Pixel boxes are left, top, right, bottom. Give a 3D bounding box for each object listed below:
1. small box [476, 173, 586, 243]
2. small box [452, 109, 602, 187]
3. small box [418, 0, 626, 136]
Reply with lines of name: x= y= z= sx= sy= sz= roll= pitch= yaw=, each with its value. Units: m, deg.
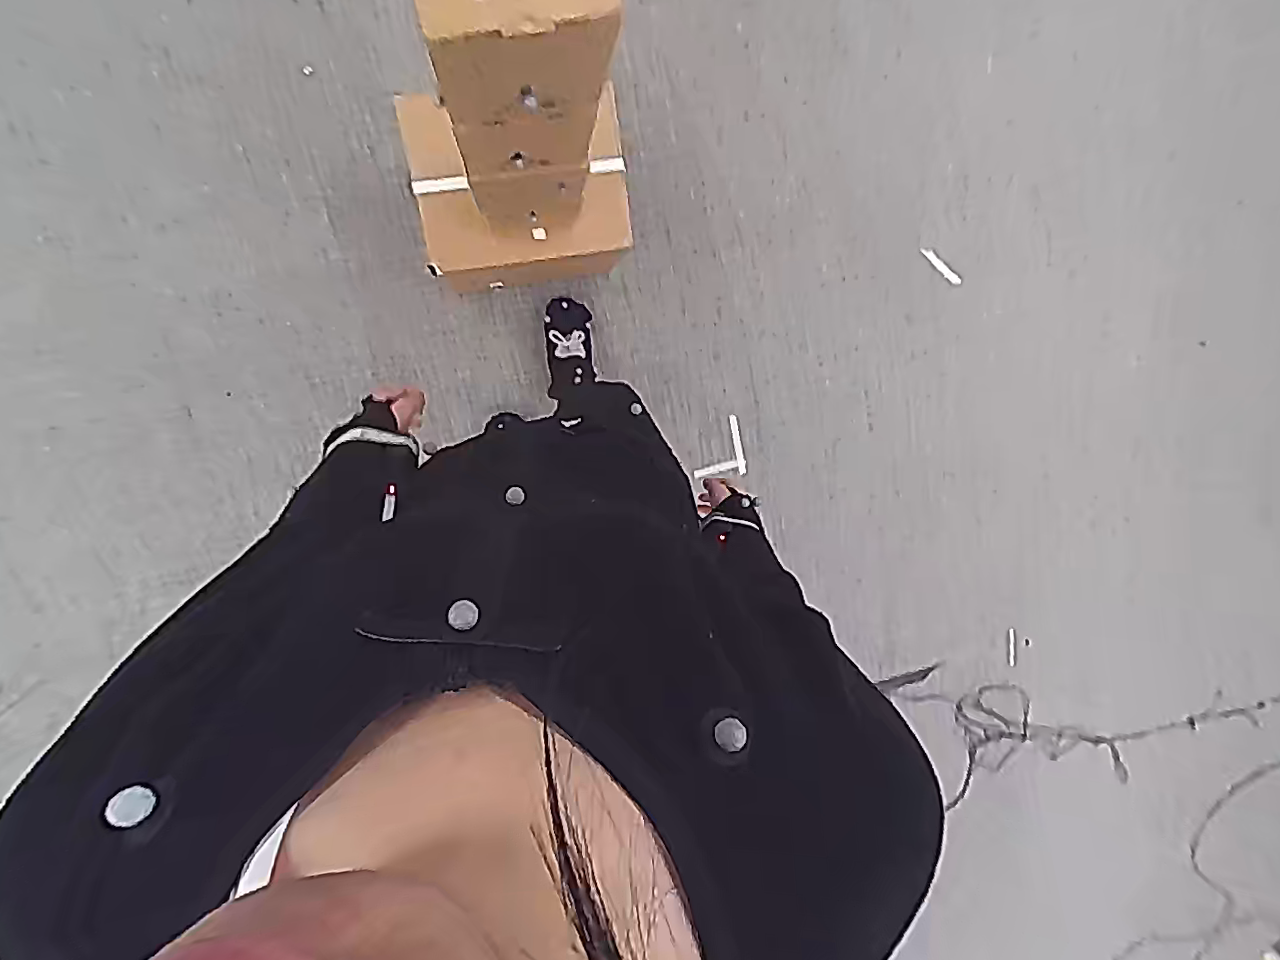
small box: x=-0.205 y=-0.542 z=0.979 sx=0.179 sy=0.176 sz=0.168 roll=-14 pitch=104 yaw=-9
small box: x=-0.152 y=-0.487 z=0.661 sx=0.168 sy=0.176 sz=0.179 roll=-13 pitch=104 yaw=-8
small box: x=-0.122 y=-0.457 z=0.501 sx=0.168 sy=0.176 sz=0.179 roll=-14 pitch=105 yaw=-8
